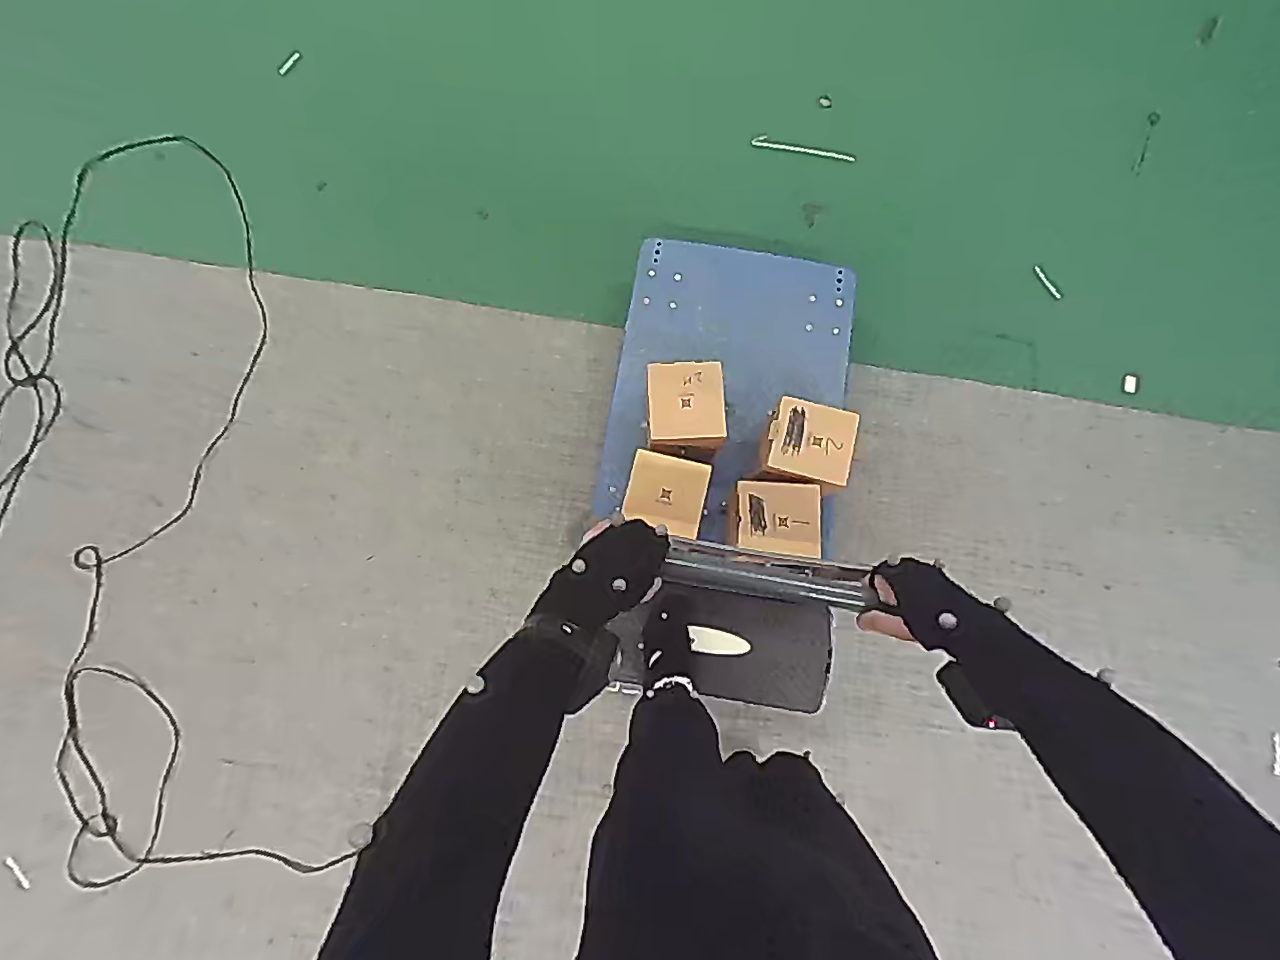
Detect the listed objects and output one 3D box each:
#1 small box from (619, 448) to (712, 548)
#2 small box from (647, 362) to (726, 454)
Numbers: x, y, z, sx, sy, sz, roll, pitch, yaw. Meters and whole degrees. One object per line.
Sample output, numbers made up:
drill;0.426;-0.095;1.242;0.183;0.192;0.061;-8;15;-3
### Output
small box;0.052;0.047;1.213;0.168;0.176;0.179;14;80;1
small box;0.101;-0.159;1.249;0.168;0.176;0.179;-1;80;-2
